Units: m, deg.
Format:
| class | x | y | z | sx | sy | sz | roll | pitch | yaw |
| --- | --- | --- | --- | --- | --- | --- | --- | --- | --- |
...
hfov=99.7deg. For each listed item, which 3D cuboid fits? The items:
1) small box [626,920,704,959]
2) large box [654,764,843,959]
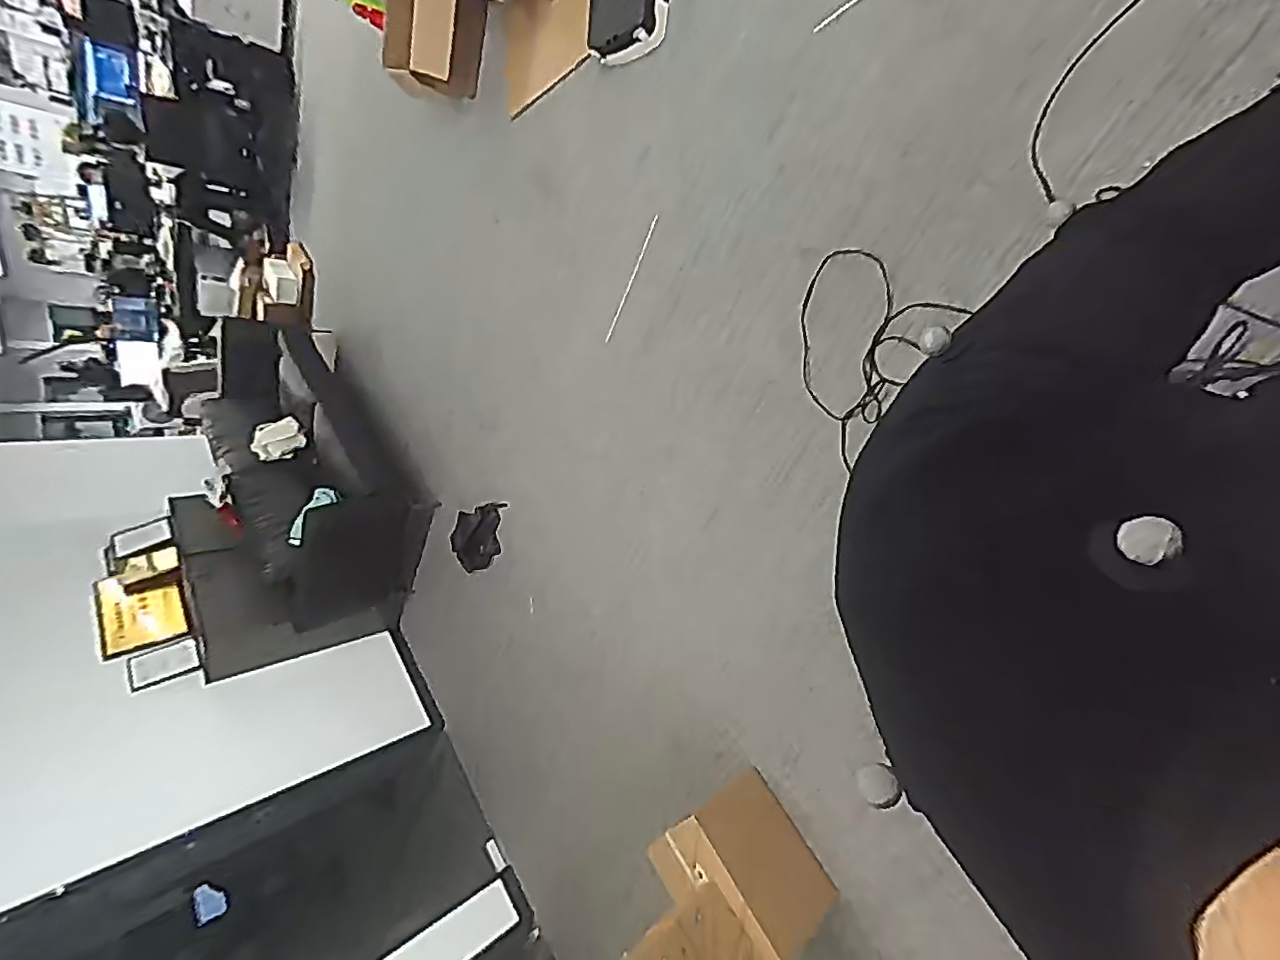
| class | x | y | z | sx | sy | sz | roll | pitch | yaw |
| --- | --- | --- | --- | --- | --- | --- | --- | --- | --- |
| small box | 0.061 | 1.244 | 1.342 | 0.168 | 0.176 | 0.179 | 53 | 130 | 29 |
| large box | 0.323 | 1.180 | 1.651 | 0.408 | 0.320 | 0.320 | 53 | 129 | 28 |
